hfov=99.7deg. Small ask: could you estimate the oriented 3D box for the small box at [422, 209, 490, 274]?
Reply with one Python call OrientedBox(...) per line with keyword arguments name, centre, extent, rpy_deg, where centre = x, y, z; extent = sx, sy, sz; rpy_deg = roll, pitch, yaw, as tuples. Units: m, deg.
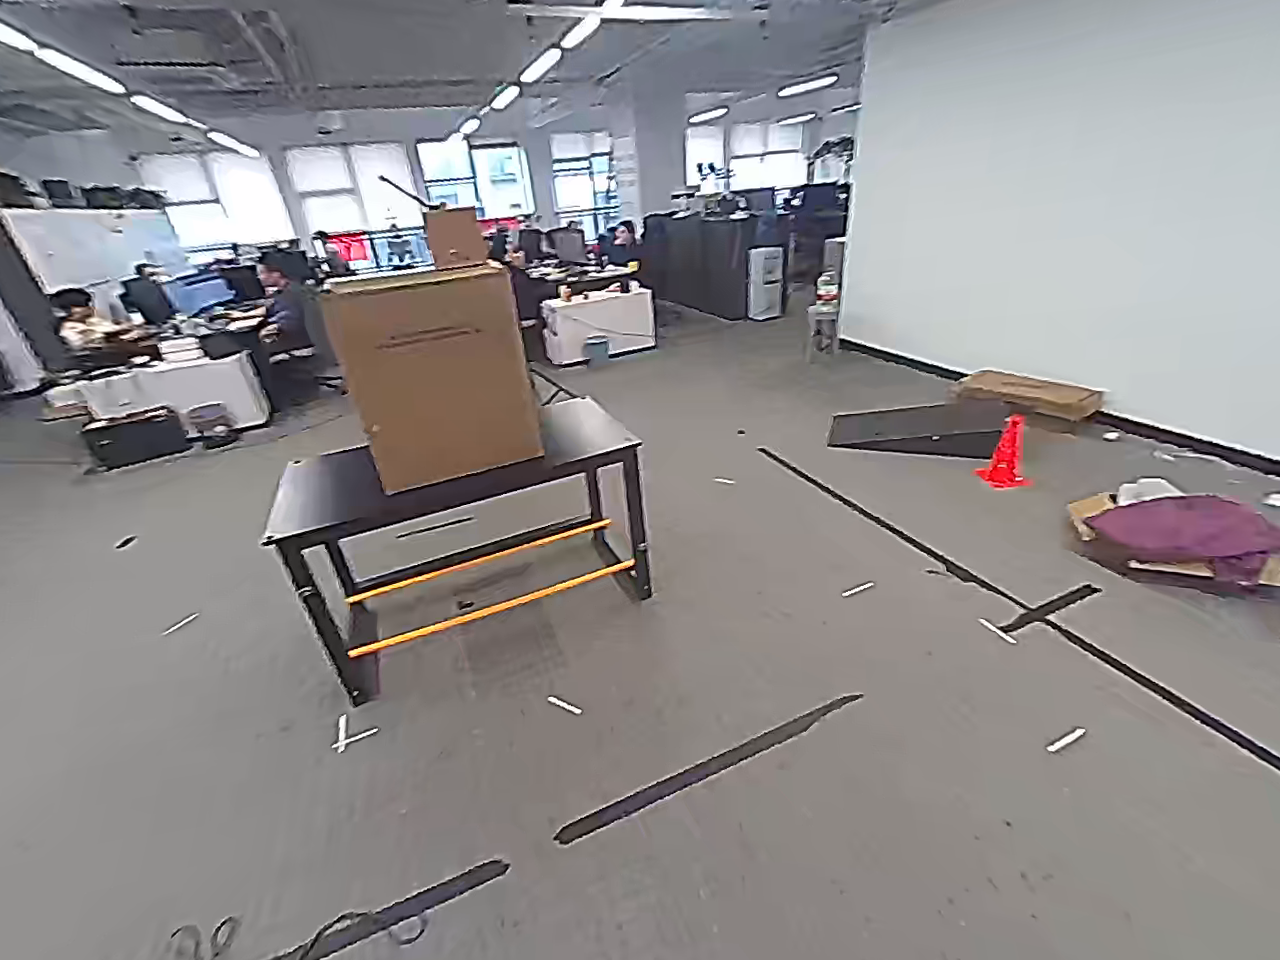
OrientedBox(name="small box", centre=(-0.592, -0.767, 1.742), extent=(0.168, 0.176, 0.179), rpy_deg=(-17, 29, -16))
